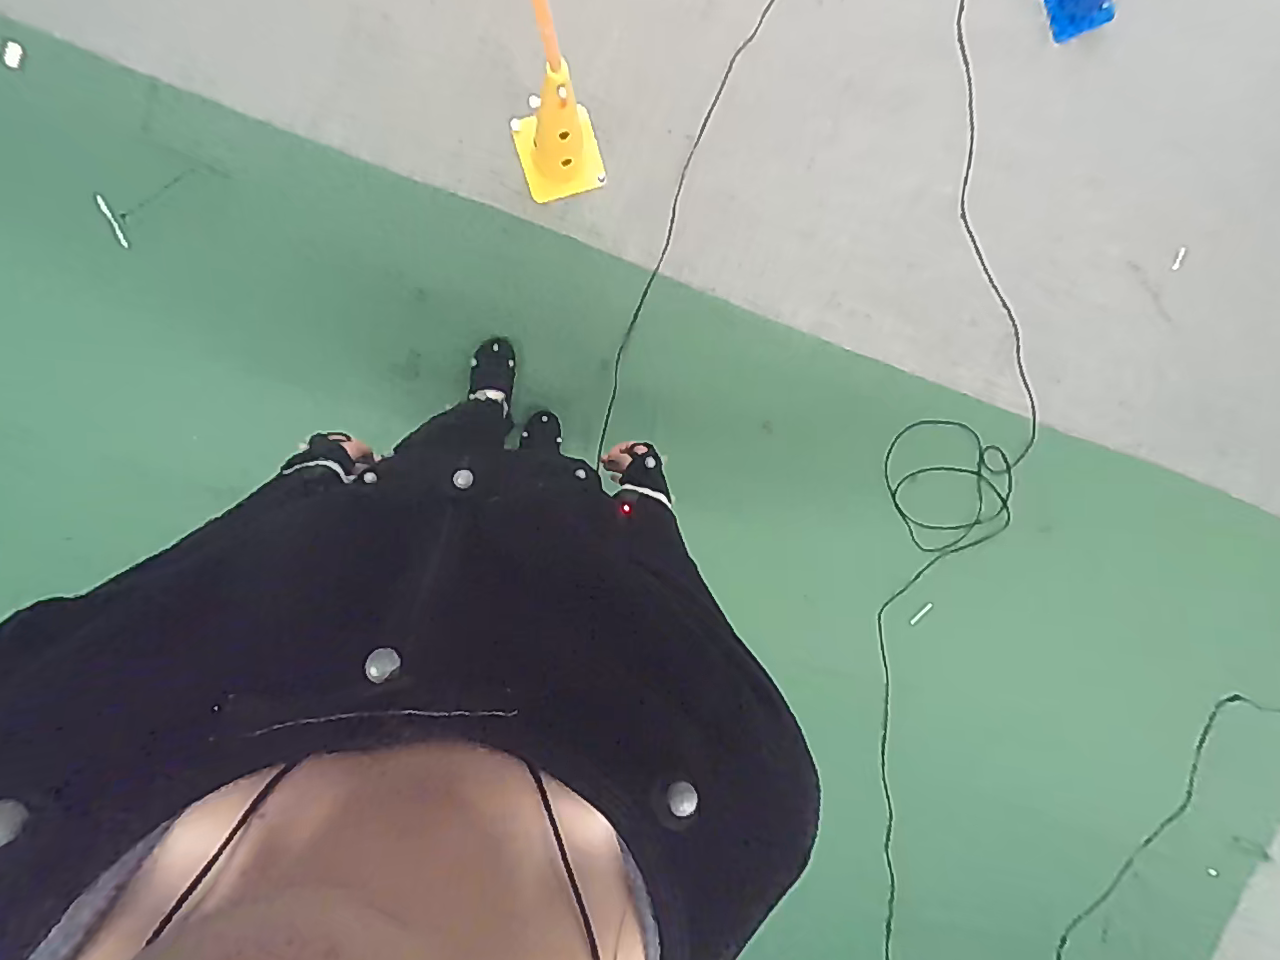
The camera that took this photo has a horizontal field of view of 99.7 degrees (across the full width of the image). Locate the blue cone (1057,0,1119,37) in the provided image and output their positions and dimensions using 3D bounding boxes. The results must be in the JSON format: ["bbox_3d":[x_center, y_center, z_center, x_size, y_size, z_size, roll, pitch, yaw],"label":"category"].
[{"bbox_3d":[1.254,-1.328,1.328,0.193,0.380,0.192,-27,100,-6],"label":"blue cone"}]
